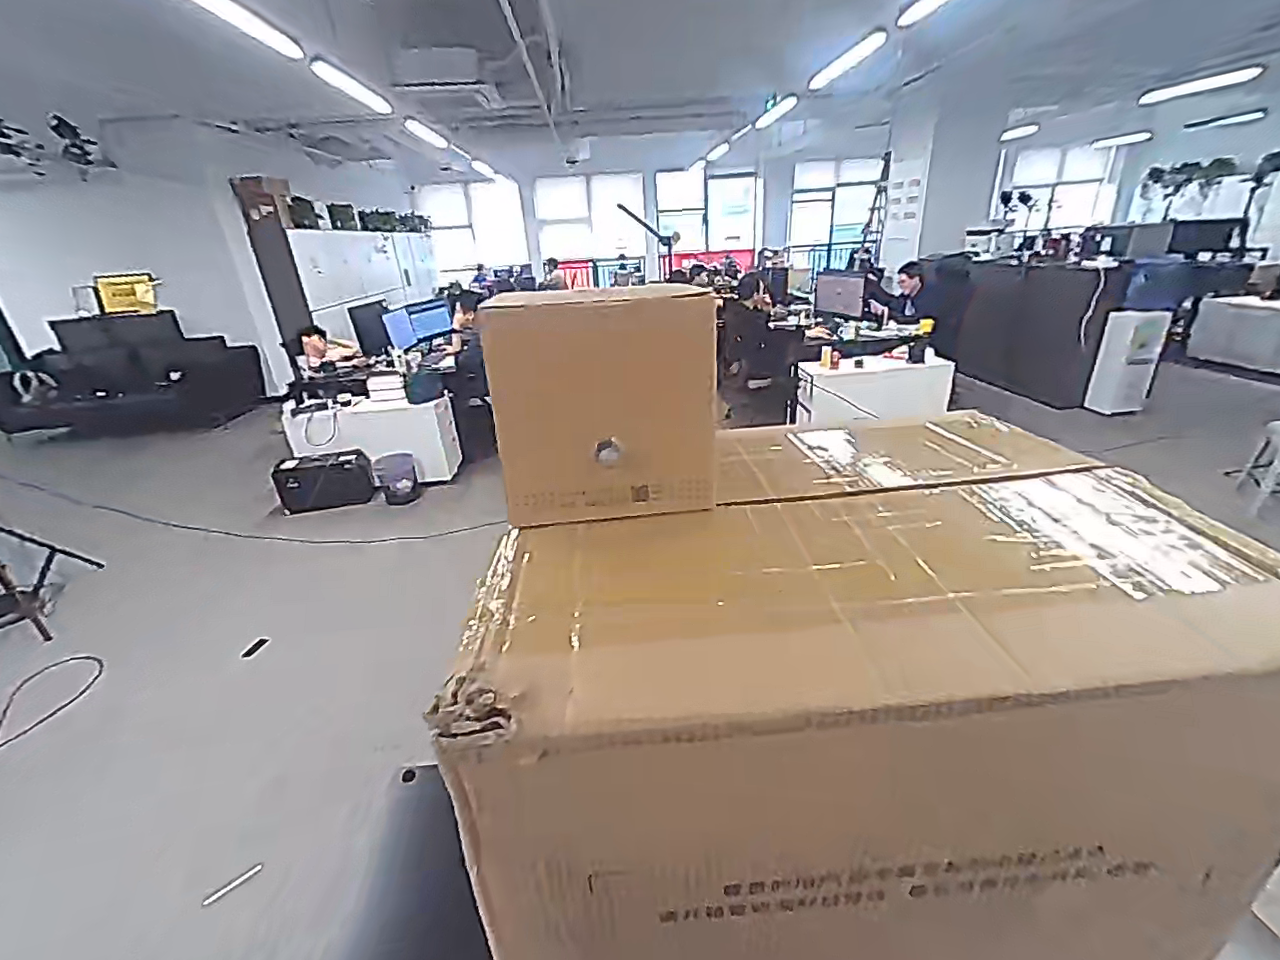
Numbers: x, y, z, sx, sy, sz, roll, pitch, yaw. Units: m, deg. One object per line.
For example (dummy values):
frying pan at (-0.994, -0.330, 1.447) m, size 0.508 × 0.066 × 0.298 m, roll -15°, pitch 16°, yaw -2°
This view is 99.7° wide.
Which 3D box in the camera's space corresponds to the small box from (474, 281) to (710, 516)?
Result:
small box at (-0.037, -0.081, 0.478) m, size 0.168 × 0.176 × 0.179 m, roll -6°, pitch 22°, yaw -4°
